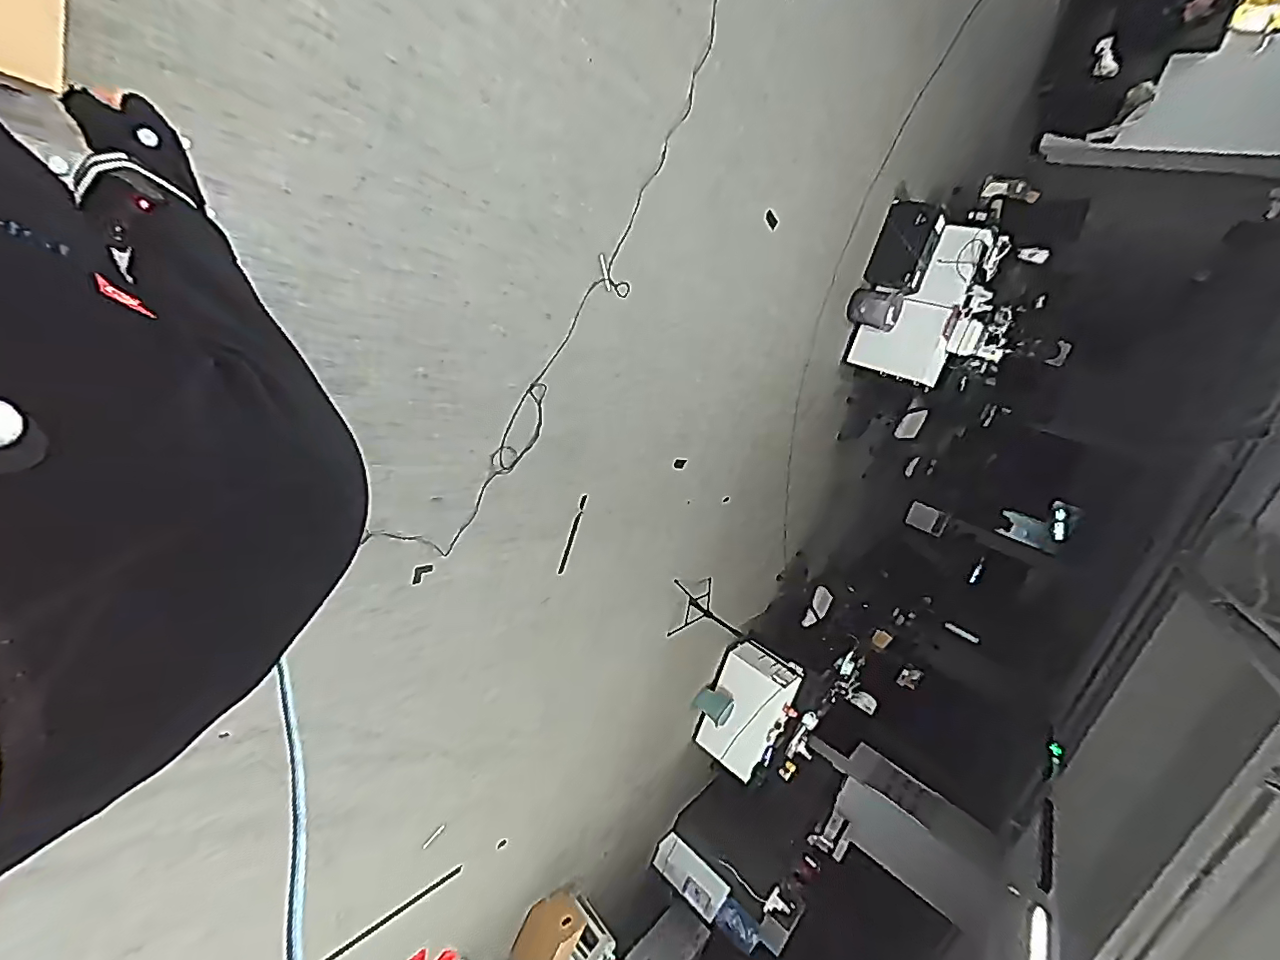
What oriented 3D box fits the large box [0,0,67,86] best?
[{"bbox_3d":[-0.977,-0.726,0.622,0.408,0.320,0.320,-4,117,-53],"label":"large box"}]
